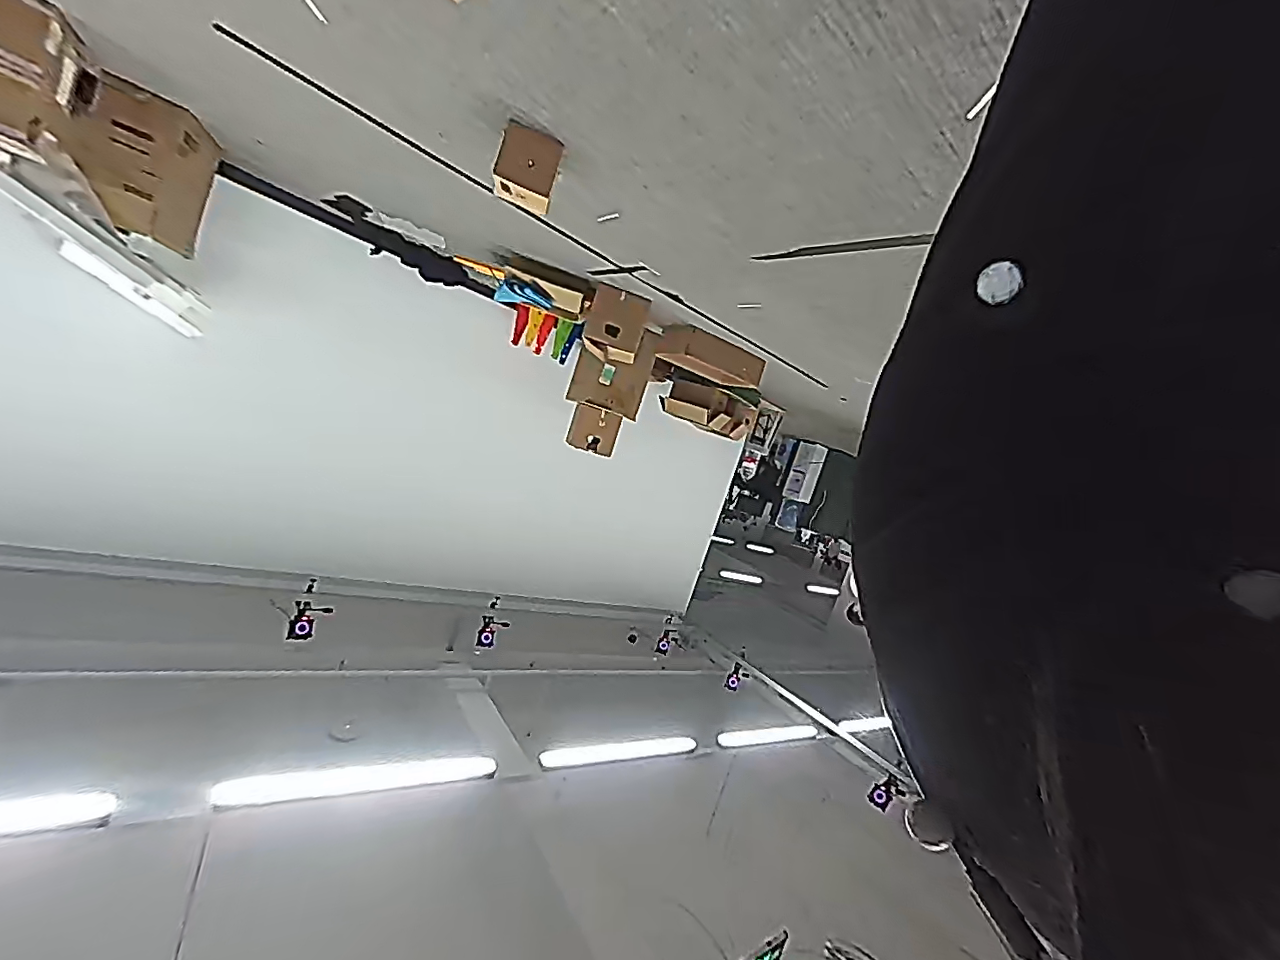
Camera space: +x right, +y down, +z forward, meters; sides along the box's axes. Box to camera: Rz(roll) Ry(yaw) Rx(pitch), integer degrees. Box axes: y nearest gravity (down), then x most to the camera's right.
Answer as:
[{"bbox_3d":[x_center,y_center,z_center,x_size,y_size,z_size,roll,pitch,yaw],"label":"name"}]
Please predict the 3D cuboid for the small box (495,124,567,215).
[{"bbox_3d":[-0.342,-0.966,1.683,0.179,0.176,0.168,17,-176,-15],"label":"small box"}]
